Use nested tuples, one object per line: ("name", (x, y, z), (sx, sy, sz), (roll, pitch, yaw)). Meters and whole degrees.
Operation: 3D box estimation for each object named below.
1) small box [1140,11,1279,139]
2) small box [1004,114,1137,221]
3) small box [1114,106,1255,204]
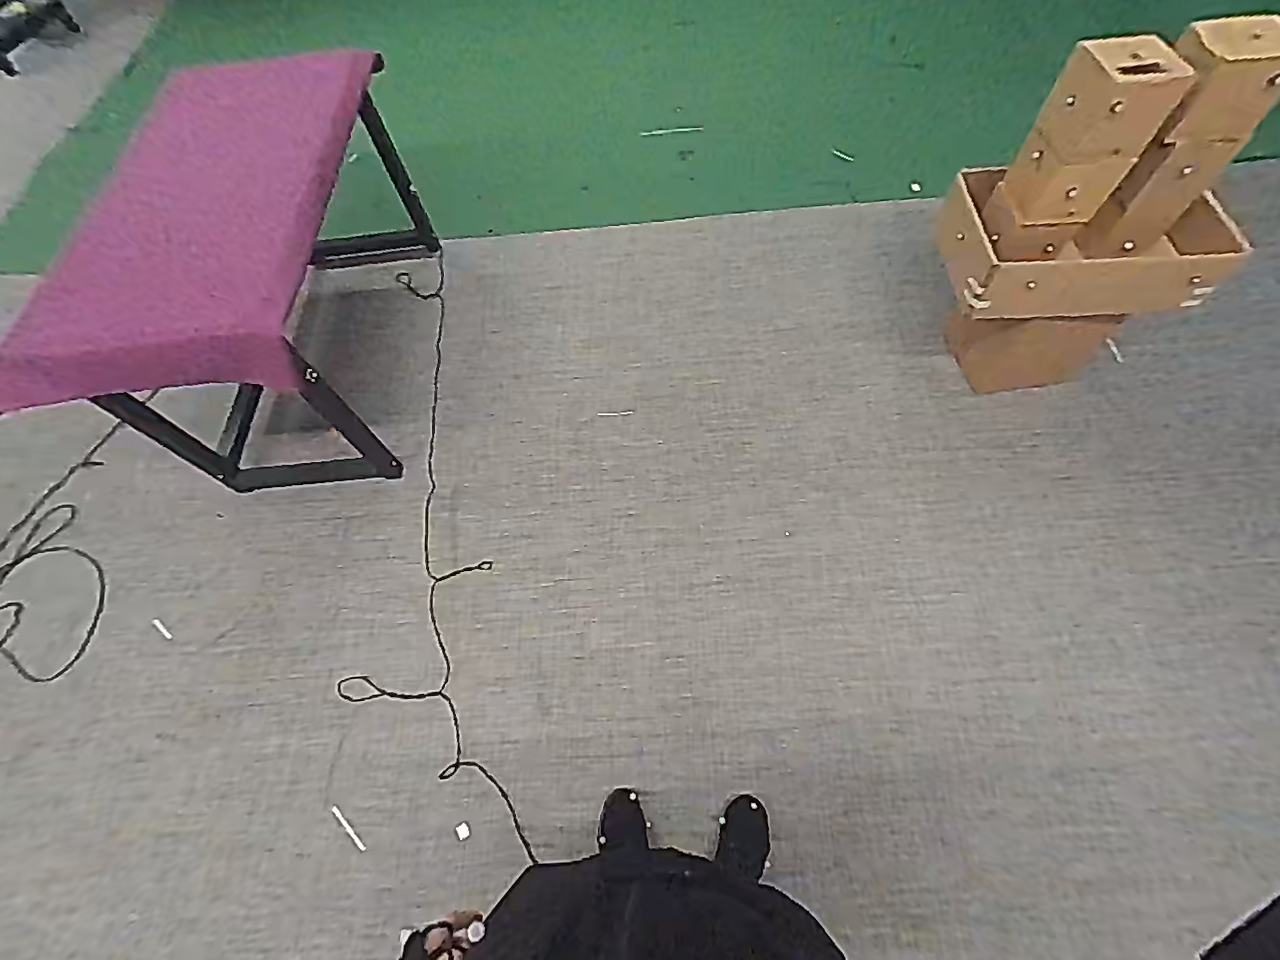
("small box", (1.277, -0.884, 1.189), (0.179, 0.176, 0.168), (-1, 62, 6))
("small box", (1.048, -0.761, 1.334), (0.168, 0.176, 0.179), (-3, 62, 2))
("small box", (1.309, -0.810, 1.334), (0.179, 0.176, 0.168), (-8, 63, 3))
